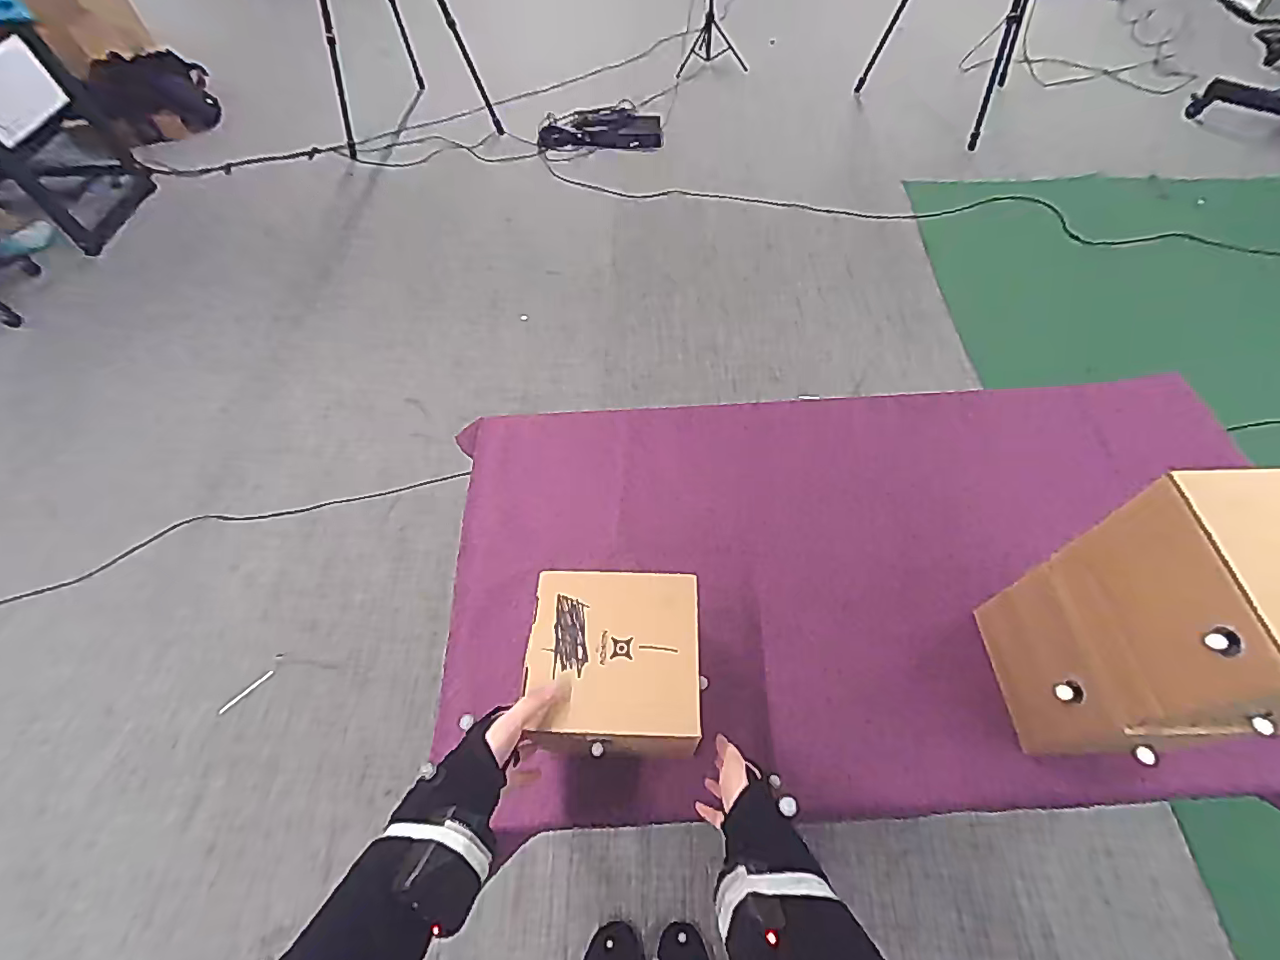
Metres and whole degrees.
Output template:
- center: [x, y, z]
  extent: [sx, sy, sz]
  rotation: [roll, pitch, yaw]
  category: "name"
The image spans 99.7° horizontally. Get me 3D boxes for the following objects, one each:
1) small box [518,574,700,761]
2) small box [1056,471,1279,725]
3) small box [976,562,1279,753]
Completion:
- center: [-0.025, 0.218, 0.618]
  extent: [0.179, 0.176, 0.168]
  rotation: [2, 57, 1]
  category: "small box"
- center: [0.523, 0.108, 0.476]
  extent: [0.168, 0.176, 0.179]
  rotation: [-1, 58, 1]
  category: "small box"
- center: [0.523, 0.204, 0.608]
  extent: [0.168, 0.176, 0.179]
  rotation: [-1, 56, 1]
  category: "small box"
